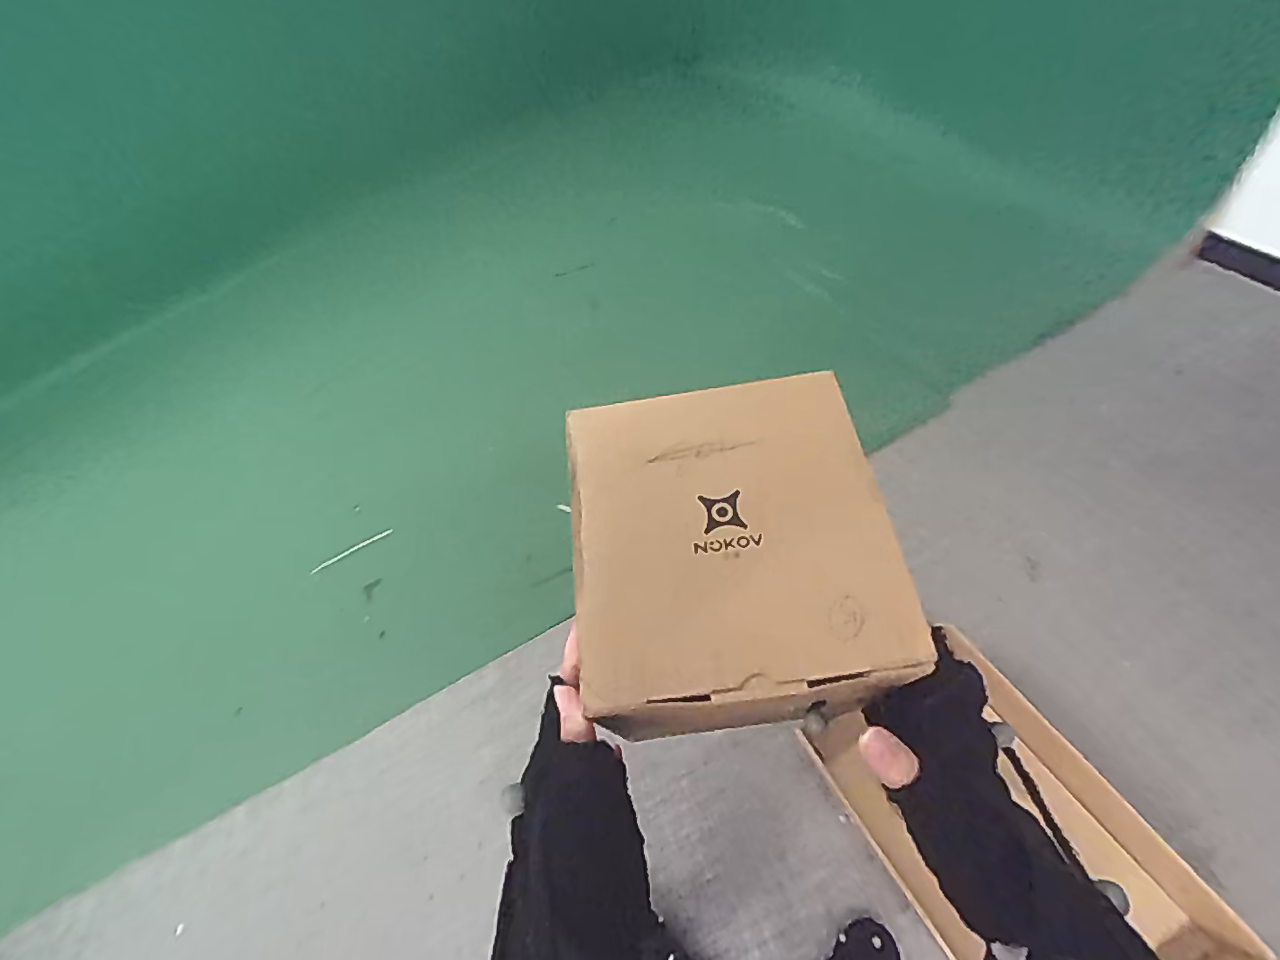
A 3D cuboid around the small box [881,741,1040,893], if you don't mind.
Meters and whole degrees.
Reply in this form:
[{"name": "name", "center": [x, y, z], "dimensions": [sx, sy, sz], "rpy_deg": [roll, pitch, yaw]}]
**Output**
[{"name": "small box", "center": [0.577, 0.621, 1.002], "dimensions": [0.168, 0.176, 0.179], "rpy_deg": [-31, 52, -6]}]
